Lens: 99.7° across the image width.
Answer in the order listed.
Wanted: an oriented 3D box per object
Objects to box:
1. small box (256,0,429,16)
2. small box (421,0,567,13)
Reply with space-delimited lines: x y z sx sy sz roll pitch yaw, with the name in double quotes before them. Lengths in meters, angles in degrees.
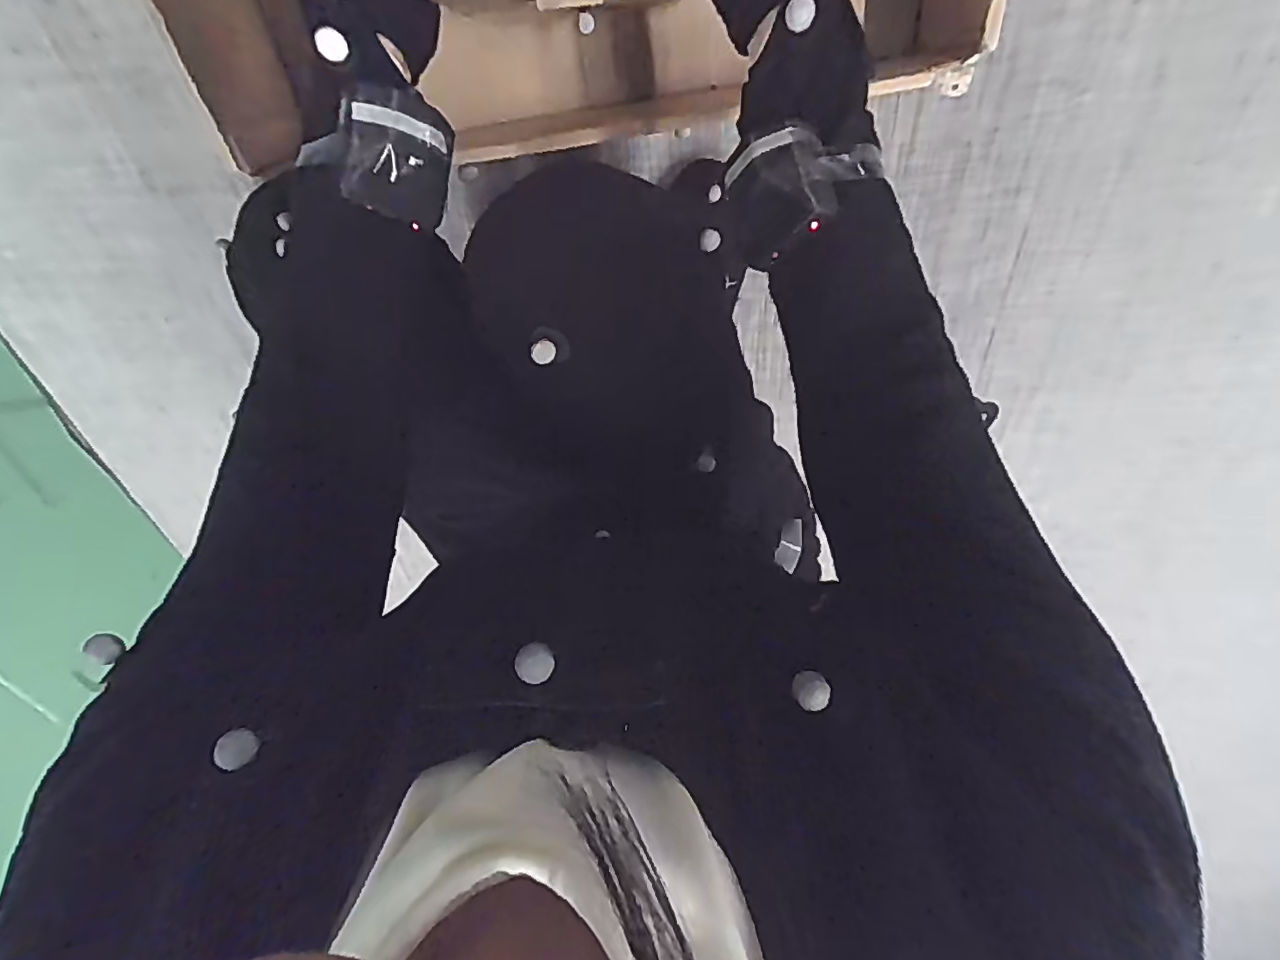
"small box" -0.061 -0.233 0.117 0.179 0.176 0.168 -11 126 8
"small box" -0.059 -0.337 0.244 0.168 0.176 0.179 -5 125 5
